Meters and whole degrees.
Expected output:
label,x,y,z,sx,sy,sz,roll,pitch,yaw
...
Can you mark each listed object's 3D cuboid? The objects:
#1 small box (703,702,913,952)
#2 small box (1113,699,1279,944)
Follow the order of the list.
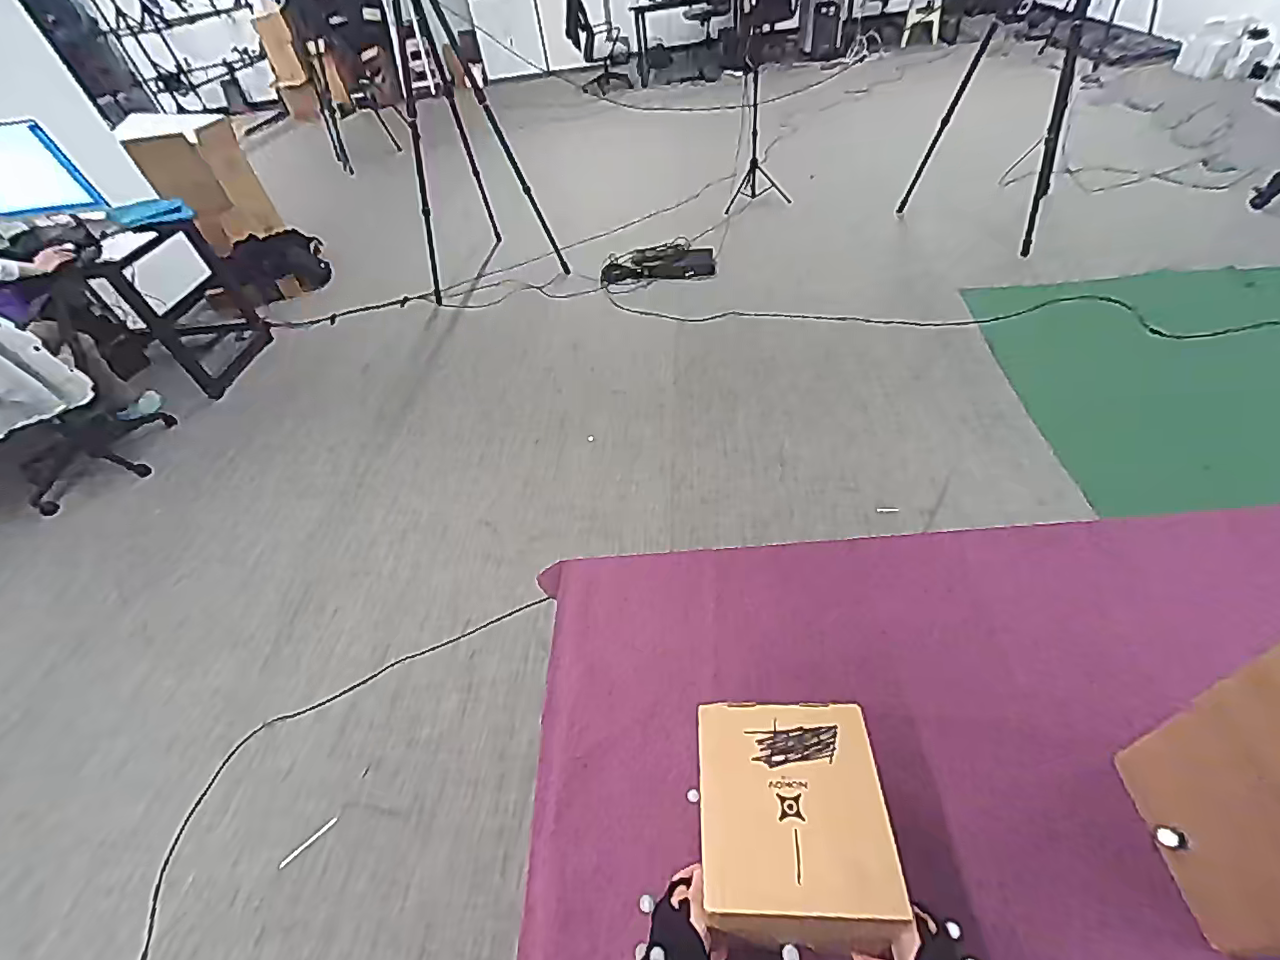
label,x,y,z,sx,sy,sz,roll,pitch,yaw
small box,0.149,0.348,0.548,0.168,0.176,0.179,-3,43,7
small box,0.611,0.320,0.505,0.168,0.176,0.179,-4,47,6
